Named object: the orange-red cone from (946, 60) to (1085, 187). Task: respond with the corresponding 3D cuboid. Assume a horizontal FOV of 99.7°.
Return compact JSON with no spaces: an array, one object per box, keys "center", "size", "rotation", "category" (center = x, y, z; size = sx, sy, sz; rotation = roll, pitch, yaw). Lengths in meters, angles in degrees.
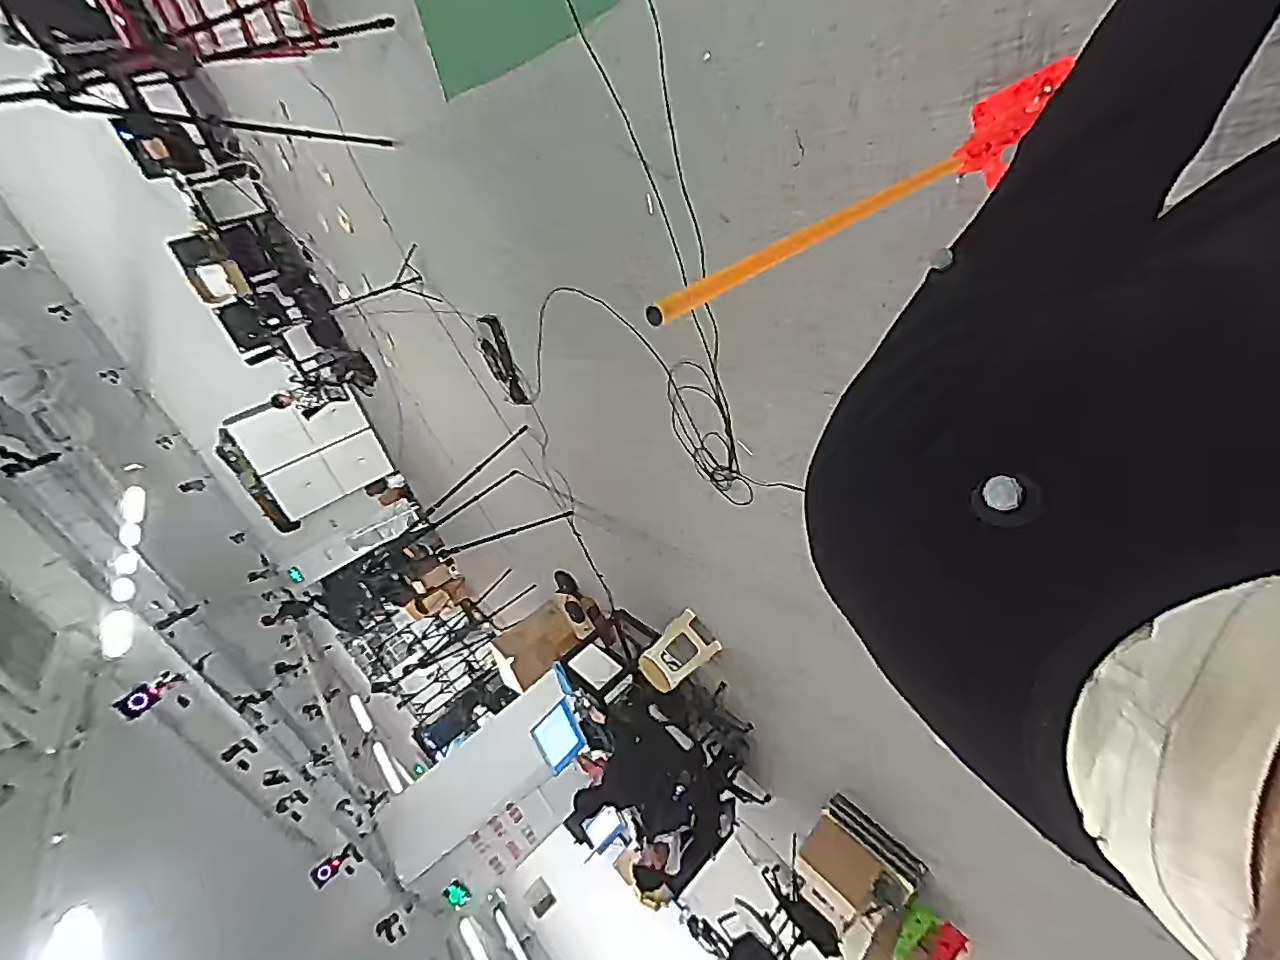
[{"center":[0.738,-0.701,1.127],"size":[0.199,0.360,0.198],"rotation":[5,123,57],"category":"orange-red cone"}]
